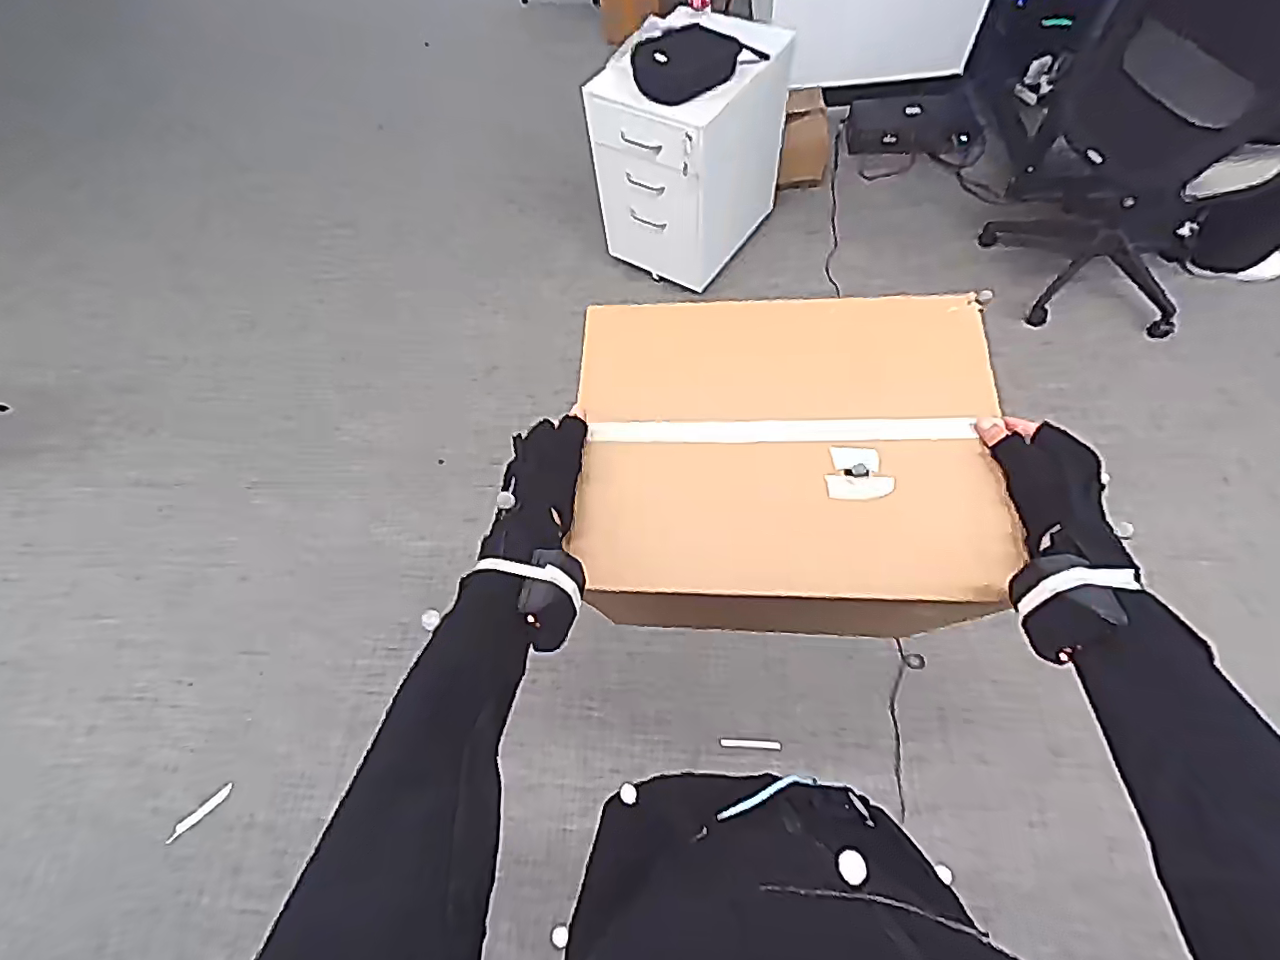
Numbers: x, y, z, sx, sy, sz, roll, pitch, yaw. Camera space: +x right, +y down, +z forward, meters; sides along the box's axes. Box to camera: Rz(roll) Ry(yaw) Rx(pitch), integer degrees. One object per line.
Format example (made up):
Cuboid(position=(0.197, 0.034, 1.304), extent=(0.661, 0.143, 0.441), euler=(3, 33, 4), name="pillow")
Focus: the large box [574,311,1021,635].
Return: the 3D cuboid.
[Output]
Cuboid(position=(0.152, 0.019, 0.677), extent=(0.408, 0.320, 0.320), euler=(0, 69, 6), name="large box")
